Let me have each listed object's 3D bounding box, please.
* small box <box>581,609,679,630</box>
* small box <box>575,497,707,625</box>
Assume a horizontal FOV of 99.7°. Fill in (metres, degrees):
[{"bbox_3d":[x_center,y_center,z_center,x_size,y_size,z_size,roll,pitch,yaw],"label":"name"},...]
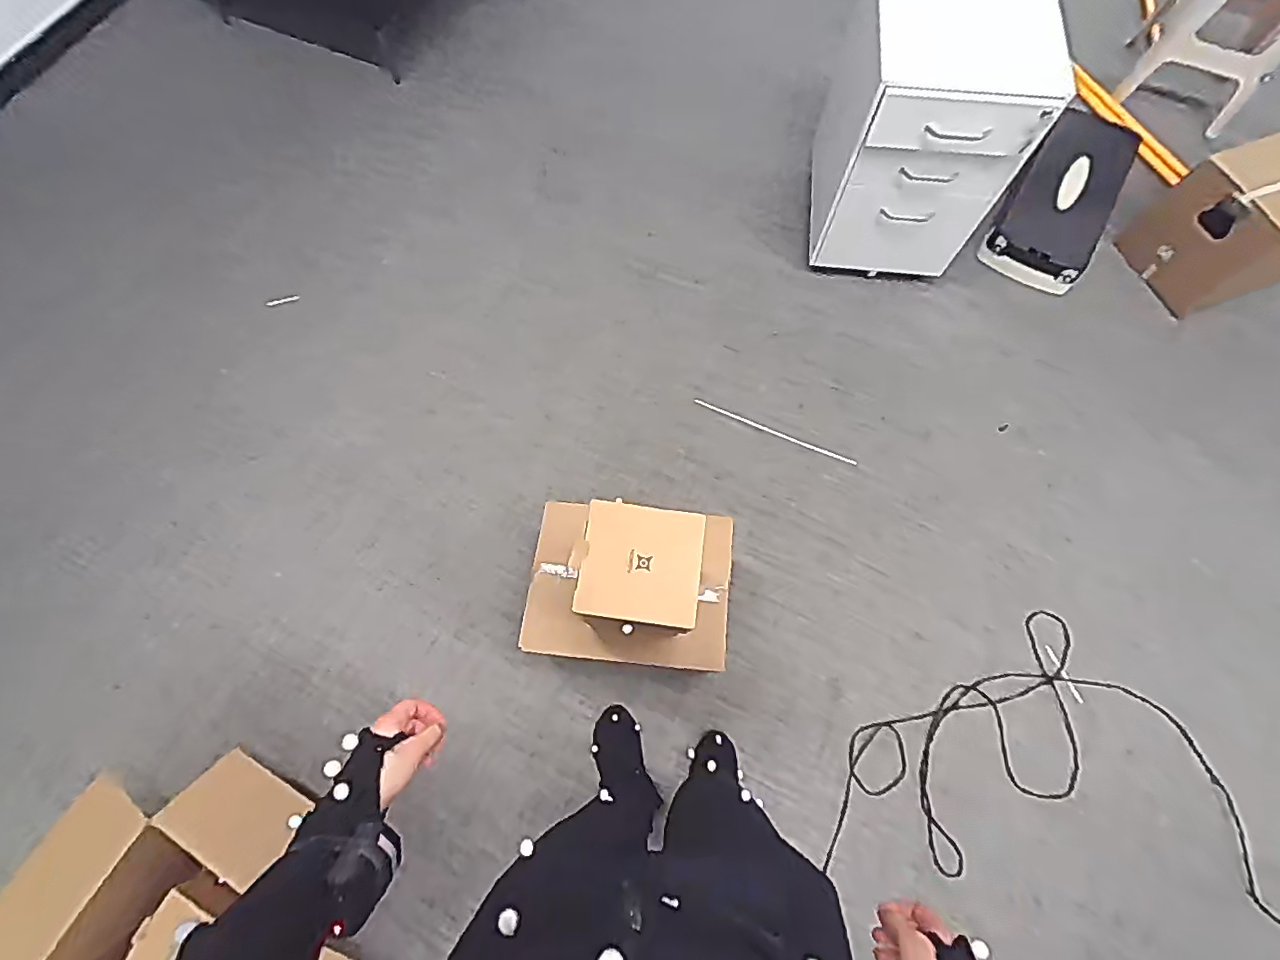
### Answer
[{"bbox_3d":[-0.002,0.186,1.013,0.179,0.176,0.168,6,72,4],"label":"small box"},{"bbox_3d":[0.006,0.135,0.859,0.179,0.176,0.168,6,72,5],"label":"small box"}]
